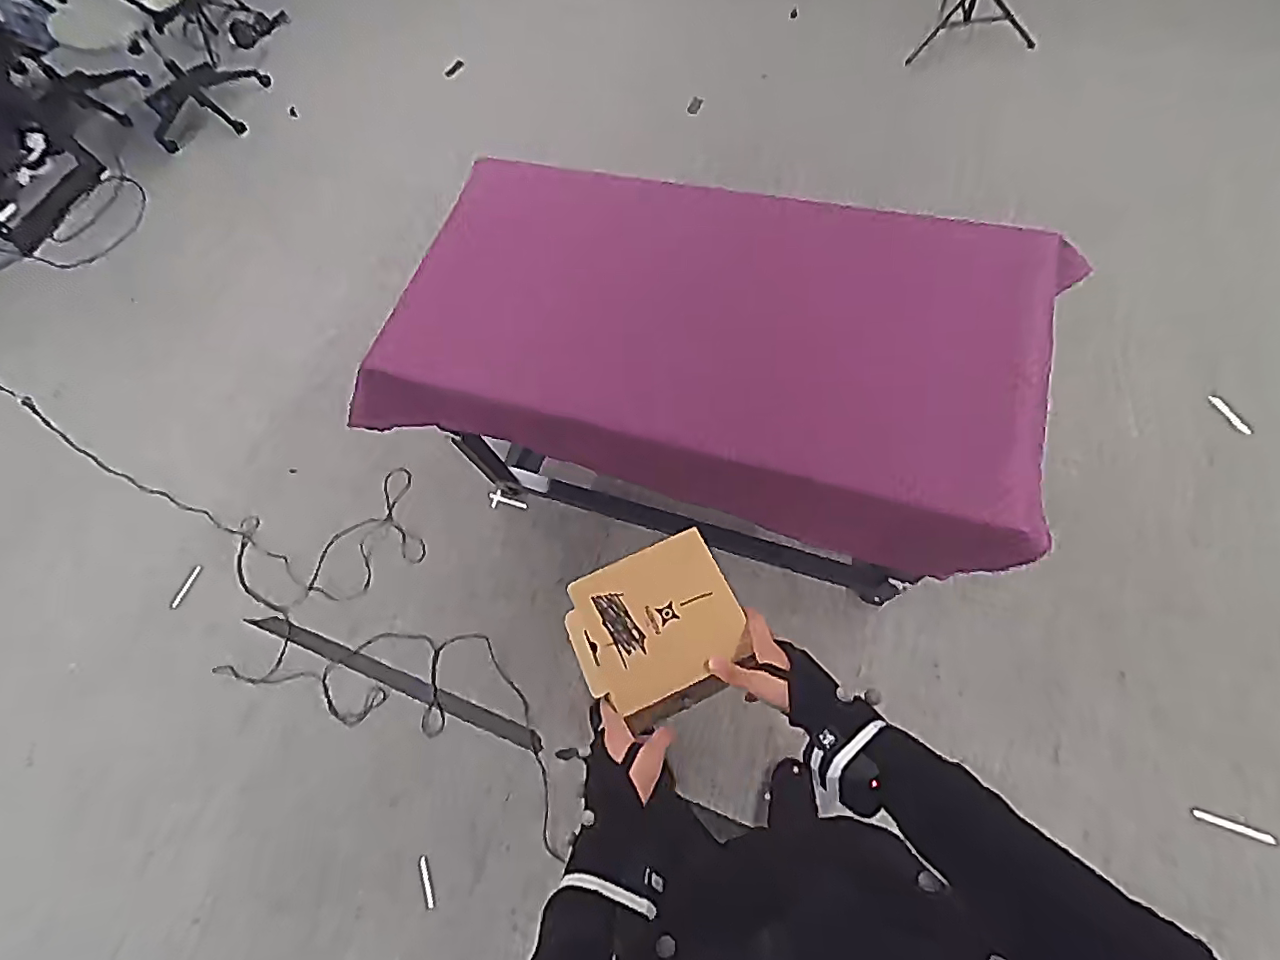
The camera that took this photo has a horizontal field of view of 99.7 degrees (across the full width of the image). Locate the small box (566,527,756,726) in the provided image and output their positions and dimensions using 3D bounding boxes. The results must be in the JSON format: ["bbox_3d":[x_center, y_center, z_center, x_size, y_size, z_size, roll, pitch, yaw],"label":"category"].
[{"bbox_3d":[0.029,0.194,0.688,0.179,0.176,0.168,-24,61,-7],"label":"small box"}]
